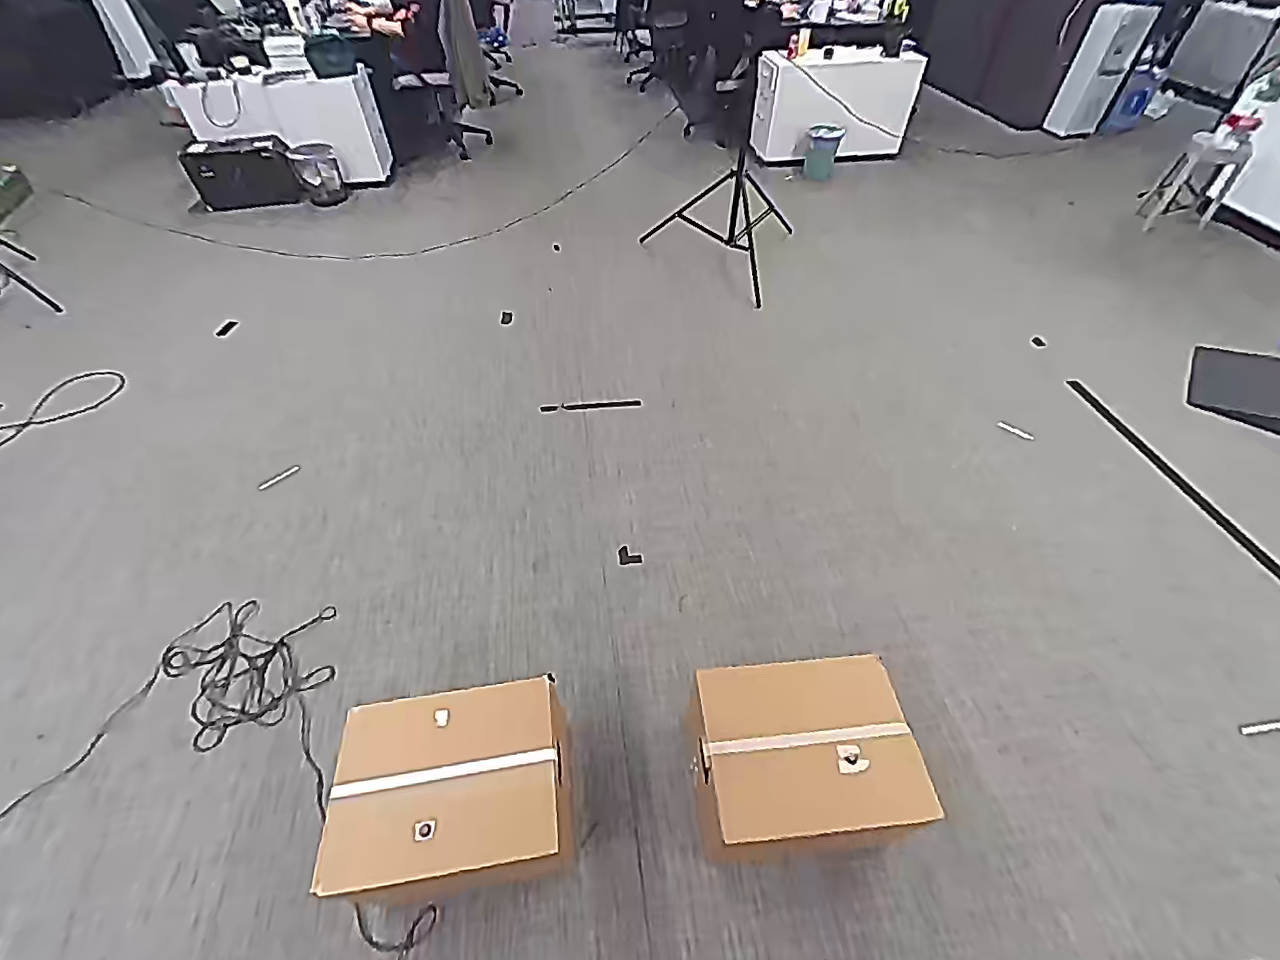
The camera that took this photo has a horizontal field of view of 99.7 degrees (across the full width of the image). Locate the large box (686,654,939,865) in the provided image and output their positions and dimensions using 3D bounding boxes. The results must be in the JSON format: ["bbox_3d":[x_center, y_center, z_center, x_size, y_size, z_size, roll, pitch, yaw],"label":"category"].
[{"bbox_3d":[0.331,0.606,1.174,0.408,0.320,0.320,-3,49,-4],"label":"large box"}]
